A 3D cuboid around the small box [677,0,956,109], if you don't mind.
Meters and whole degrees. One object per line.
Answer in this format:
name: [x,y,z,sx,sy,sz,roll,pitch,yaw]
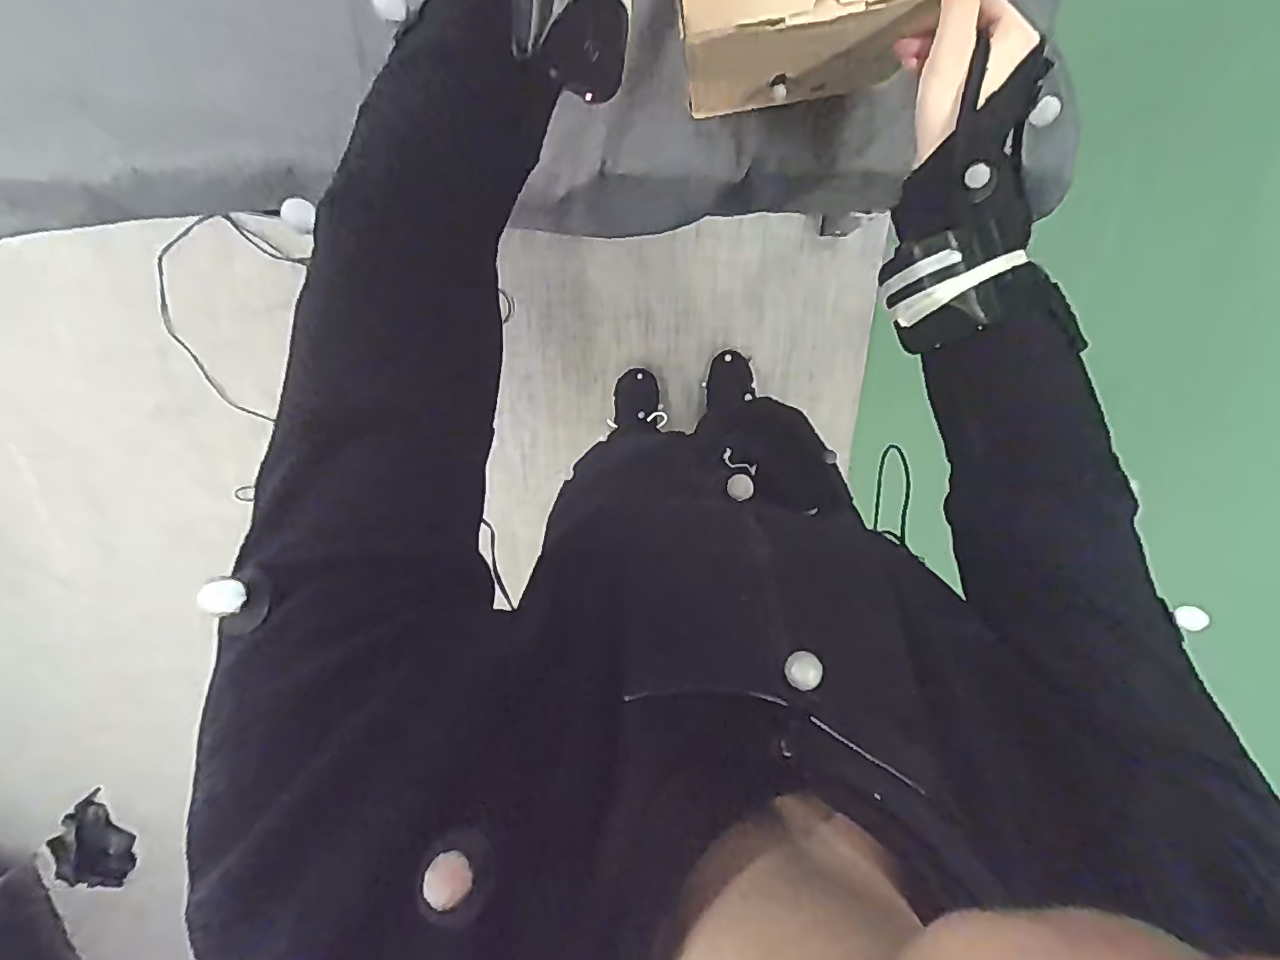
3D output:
small box: [0.104,-0.377,0.352,0.168,0.176,0.179,-4,111,9]
